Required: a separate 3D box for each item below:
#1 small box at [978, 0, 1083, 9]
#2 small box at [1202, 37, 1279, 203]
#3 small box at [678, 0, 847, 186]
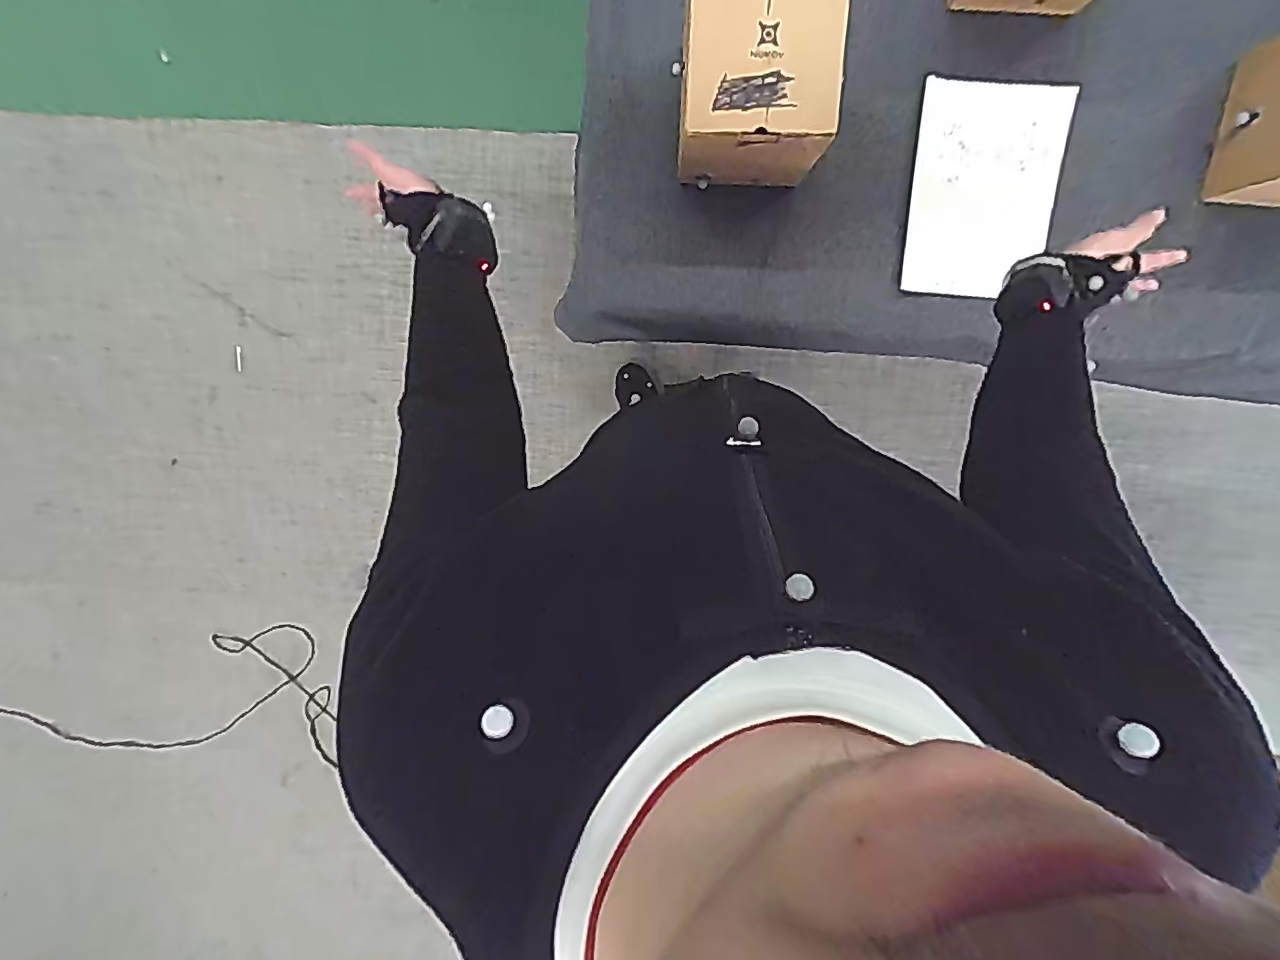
[{"bbox_3d":[0.473,-0.659,0.585,0.168,0.176,0.179,2,102,0],"label":"small box"},{"bbox_3d":[0.841,-0.438,0.640,0.168,0.176,0.179,4,104,1],"label":"small box"},{"bbox_3d":[0.134,-0.471,0.651,0.168,0.176,0.179,1,102,0],"label":"small box"}]
